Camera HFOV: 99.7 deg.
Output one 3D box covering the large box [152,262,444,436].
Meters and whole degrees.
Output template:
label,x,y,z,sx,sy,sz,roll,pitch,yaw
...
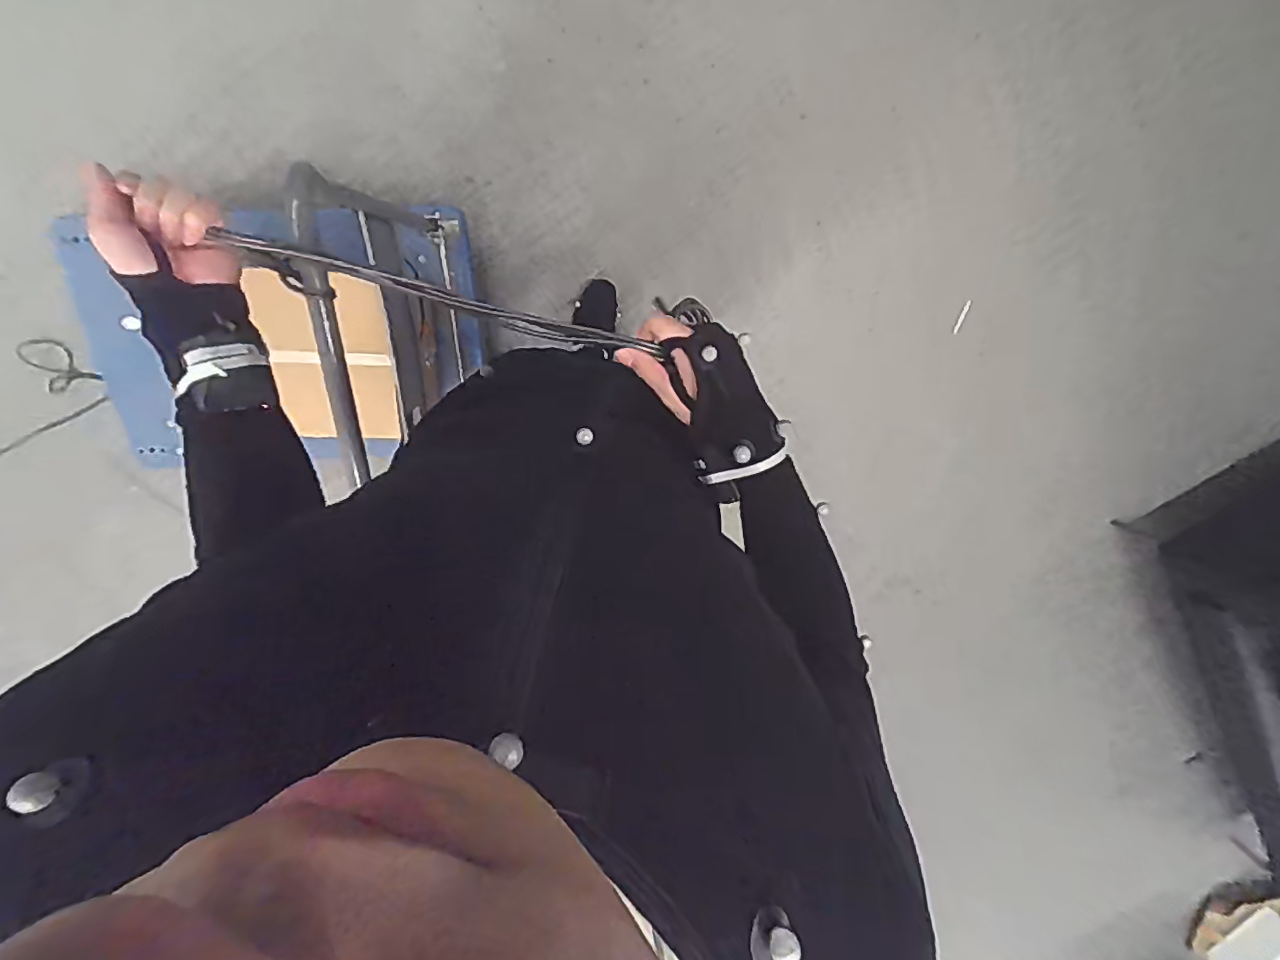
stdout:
label,x,y,z,sx,sy,sz,roll,pitch,yaw
large box,-0.669,-0.286,1.145,0.408,0.320,0.320,1,110,-6
